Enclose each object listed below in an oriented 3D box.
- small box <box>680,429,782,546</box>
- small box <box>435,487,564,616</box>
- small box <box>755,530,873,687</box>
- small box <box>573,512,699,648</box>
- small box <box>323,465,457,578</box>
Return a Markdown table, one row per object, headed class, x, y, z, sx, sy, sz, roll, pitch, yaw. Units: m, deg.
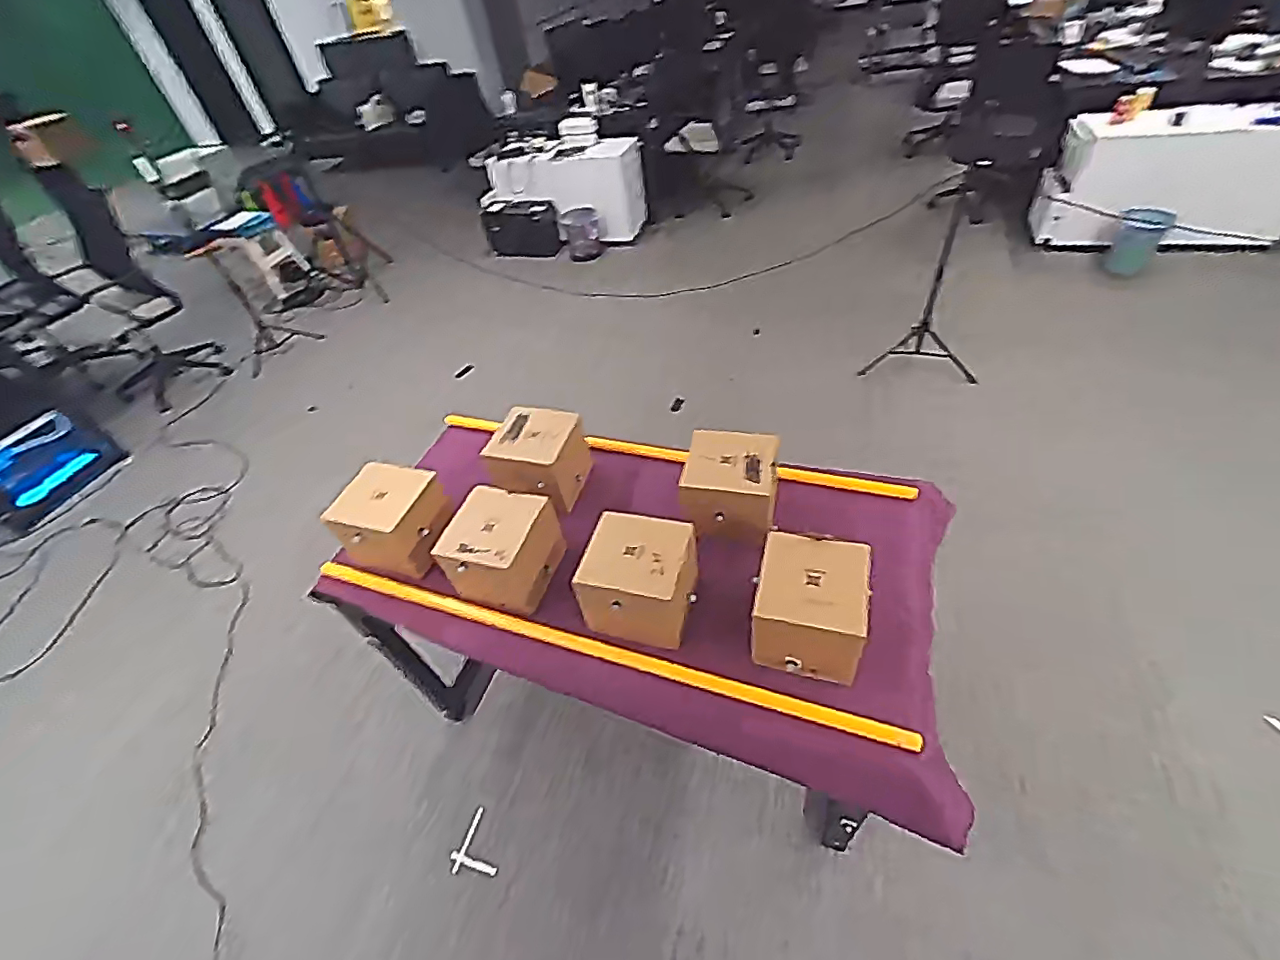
| class | x | y | z | sx | sy | sz | roll | pitch | yaw |
| --- | --- | --- | --- | --- | --- | --- | --- | --- | --- |
| small box | 0.191 | 0.018 | 1.115 | 0.179 | 0.176 | 0.168 | 6 | 49 | 17 |
| small box | -0.267 | 0.142 | 1.079 | 0.168 | 0.176 | 0.179 | 8 | 48 | 19 |
| small box | 0.287 | 0.213 | 0.906 | 0.168 | 0.176 | 0.179 | 7 | 46 | 19 |
| small box | 0.002 | 0.184 | 0.988 | 0.179 | 0.176 | 0.168 | 8 | 47 | 18 |
| small box | -0.526 | 0.092 | 1.173 | 0.179 | 0.176 | 0.168 | 8 | 48 | 18 |
